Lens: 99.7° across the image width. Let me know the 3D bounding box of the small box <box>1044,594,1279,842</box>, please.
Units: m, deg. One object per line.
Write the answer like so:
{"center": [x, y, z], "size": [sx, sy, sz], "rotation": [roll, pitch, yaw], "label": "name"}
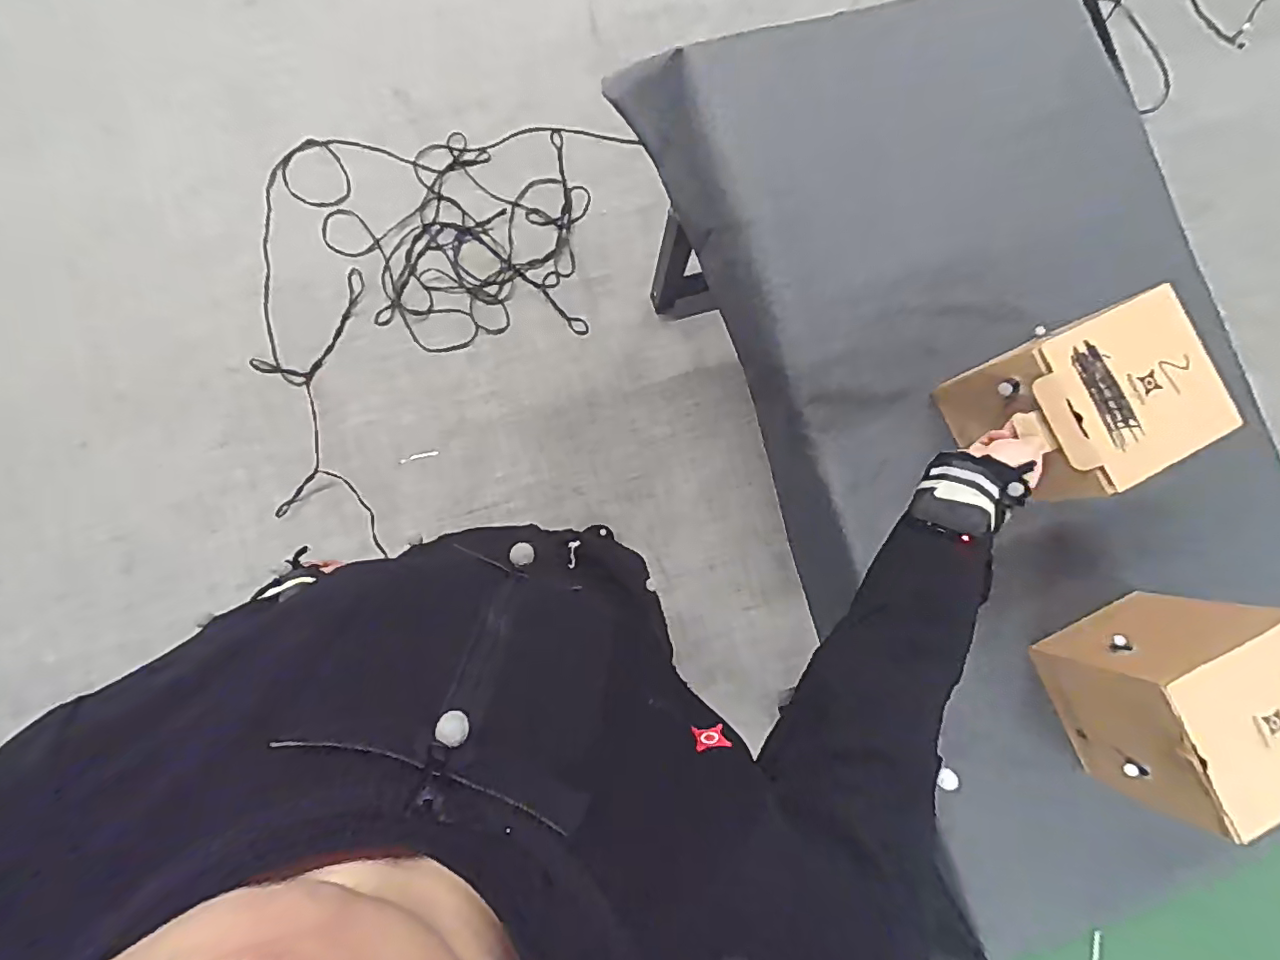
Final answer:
{"center": [0.599, 0.242, 0.600], "size": [0.179, 0.176, 0.168], "rotation": [-24, 88, -8], "label": "small box"}
